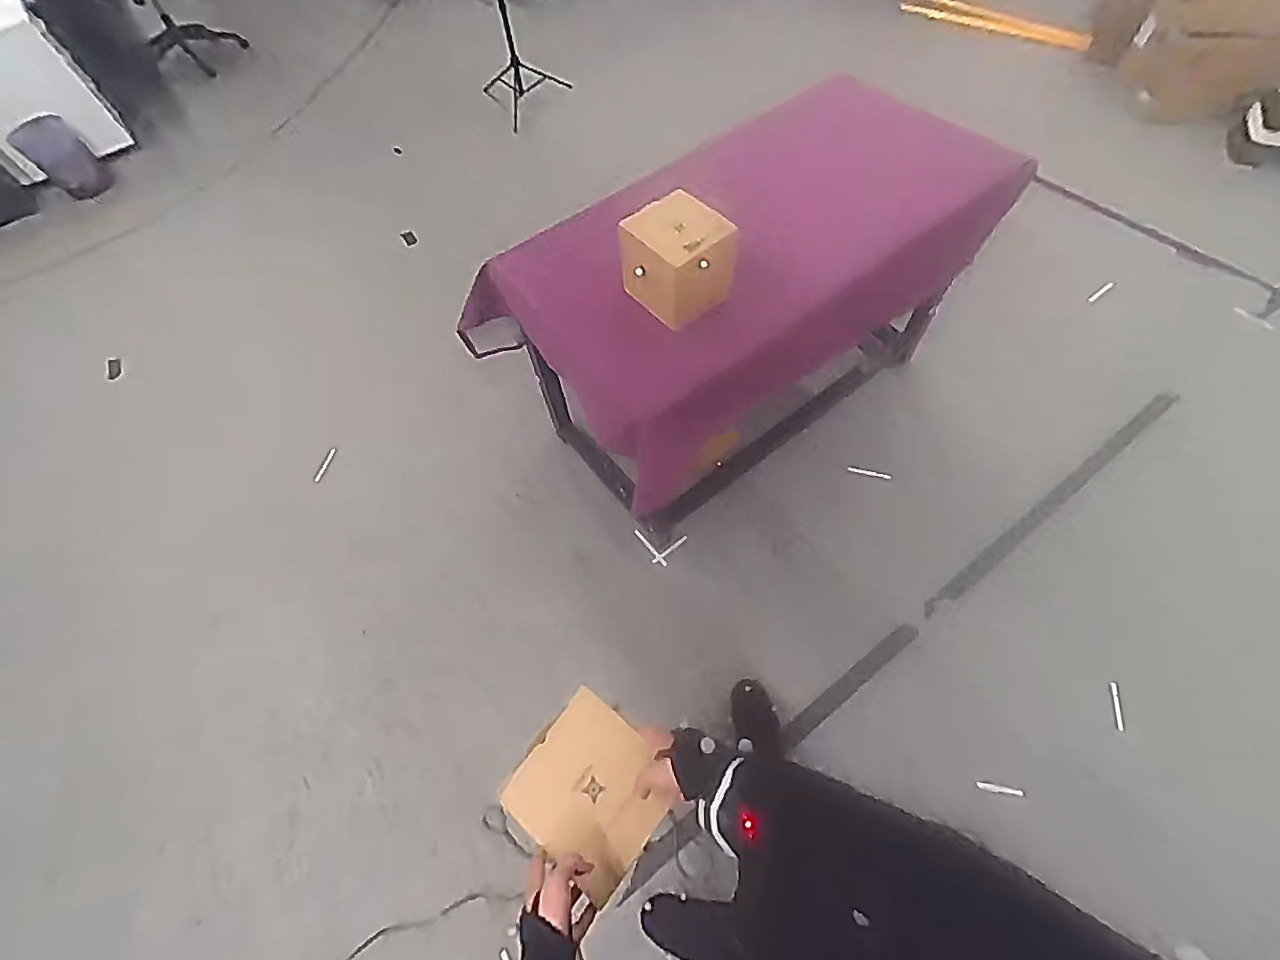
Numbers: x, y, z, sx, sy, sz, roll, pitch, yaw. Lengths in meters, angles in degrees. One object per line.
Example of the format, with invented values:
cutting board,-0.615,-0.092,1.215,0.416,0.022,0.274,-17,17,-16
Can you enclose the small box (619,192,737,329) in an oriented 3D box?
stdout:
small box,0.076,-0.448,1.115,0.168,0.176,0.179,-37,65,-15

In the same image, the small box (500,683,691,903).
small box,-0.051,0.404,0.720,0.179,0.176,0.168,36,70,20
